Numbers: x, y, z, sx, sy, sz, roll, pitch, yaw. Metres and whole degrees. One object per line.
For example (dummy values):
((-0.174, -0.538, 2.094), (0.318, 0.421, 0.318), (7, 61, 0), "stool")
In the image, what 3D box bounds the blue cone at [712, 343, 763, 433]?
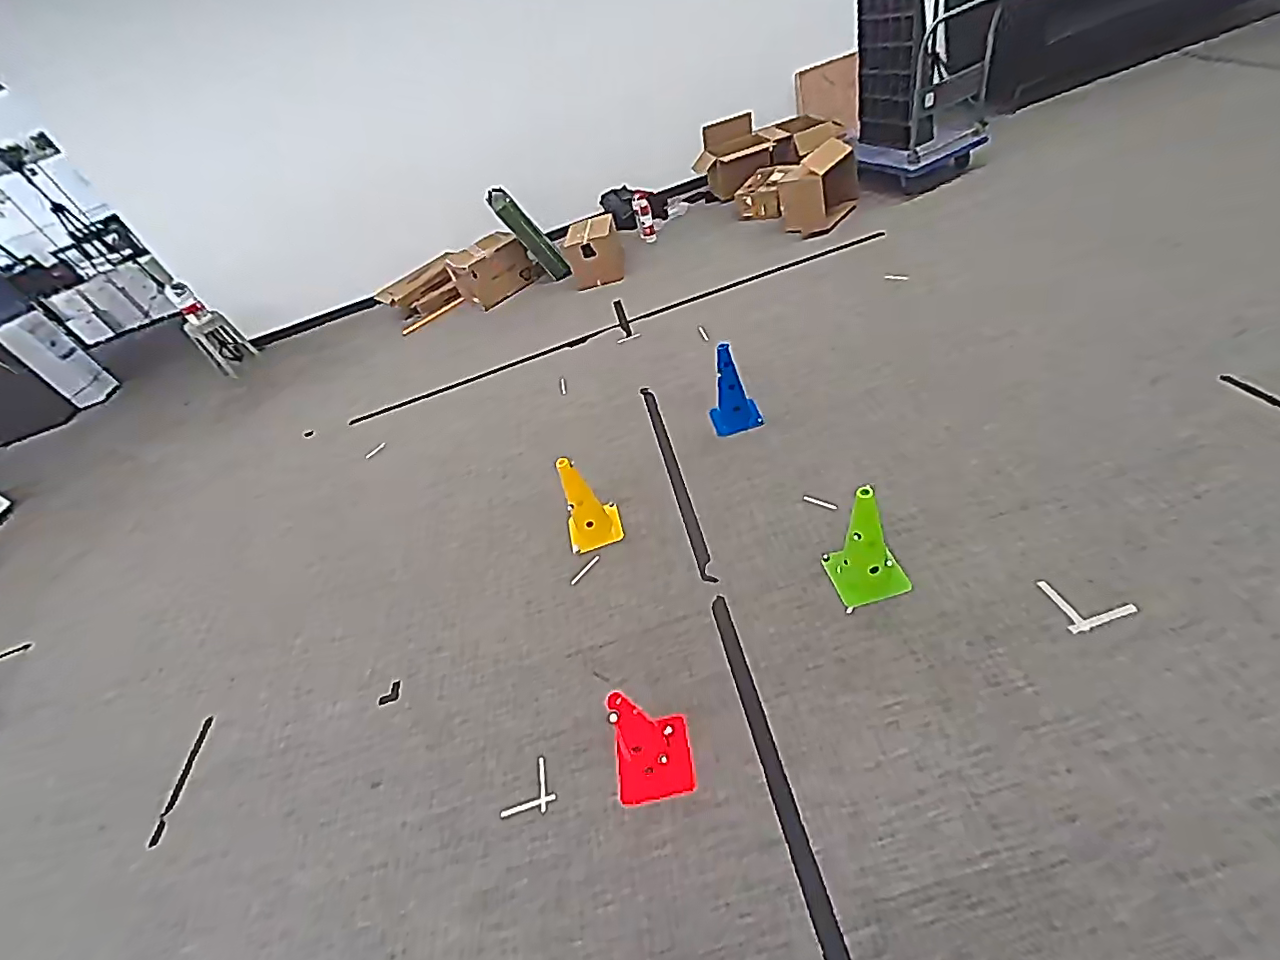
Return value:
((0.372, -0.389, 2.215), (0.192, 0.380, 0.193), (-15, 42, 5), "blue cone")

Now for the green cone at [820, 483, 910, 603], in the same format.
((0.630, 0.152, 1.517), (0.202, 0.368, 0.200), (-17, 42, 2), "green cone")

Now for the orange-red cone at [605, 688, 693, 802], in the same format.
((-0.014, 0.603, 1.306), (0.199, 0.360, 0.198), (-16, 40, 7), "orange-red cone")
